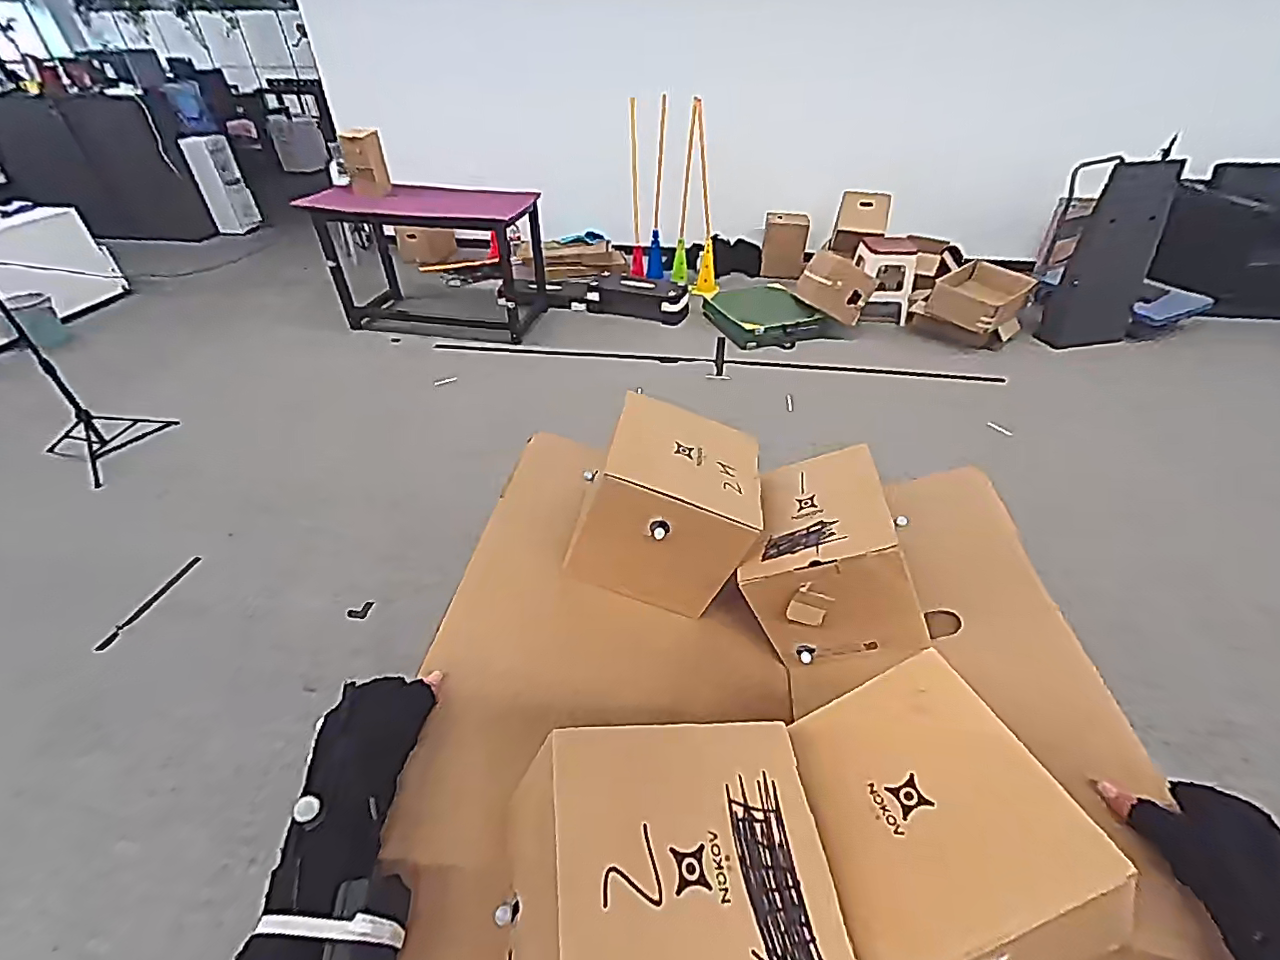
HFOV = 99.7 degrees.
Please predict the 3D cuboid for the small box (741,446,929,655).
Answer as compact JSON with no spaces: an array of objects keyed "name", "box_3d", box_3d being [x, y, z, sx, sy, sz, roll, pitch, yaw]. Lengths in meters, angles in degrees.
[{"name":"small box","box_3d":[0.231,0.093,0.654,0.168,0.176,0.179,-18,33,24]}]
